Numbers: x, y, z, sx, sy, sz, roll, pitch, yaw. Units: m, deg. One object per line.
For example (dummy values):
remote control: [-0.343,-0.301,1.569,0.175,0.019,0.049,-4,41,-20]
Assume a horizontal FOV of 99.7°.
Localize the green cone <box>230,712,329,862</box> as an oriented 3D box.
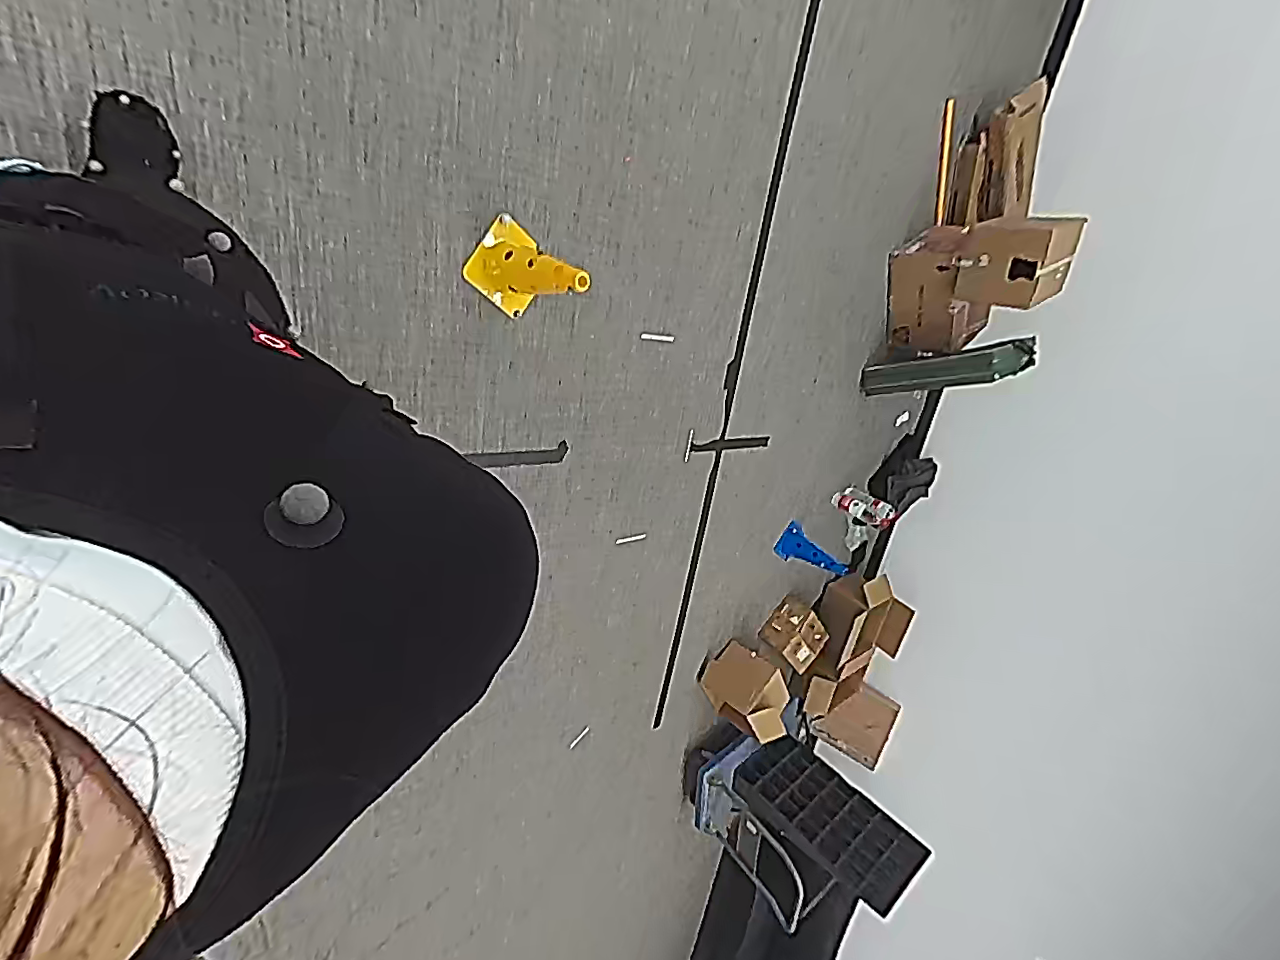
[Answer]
green cone: [-0.921,0.836,1.429,0.202,0.368,0.200,-23,125,-31]
